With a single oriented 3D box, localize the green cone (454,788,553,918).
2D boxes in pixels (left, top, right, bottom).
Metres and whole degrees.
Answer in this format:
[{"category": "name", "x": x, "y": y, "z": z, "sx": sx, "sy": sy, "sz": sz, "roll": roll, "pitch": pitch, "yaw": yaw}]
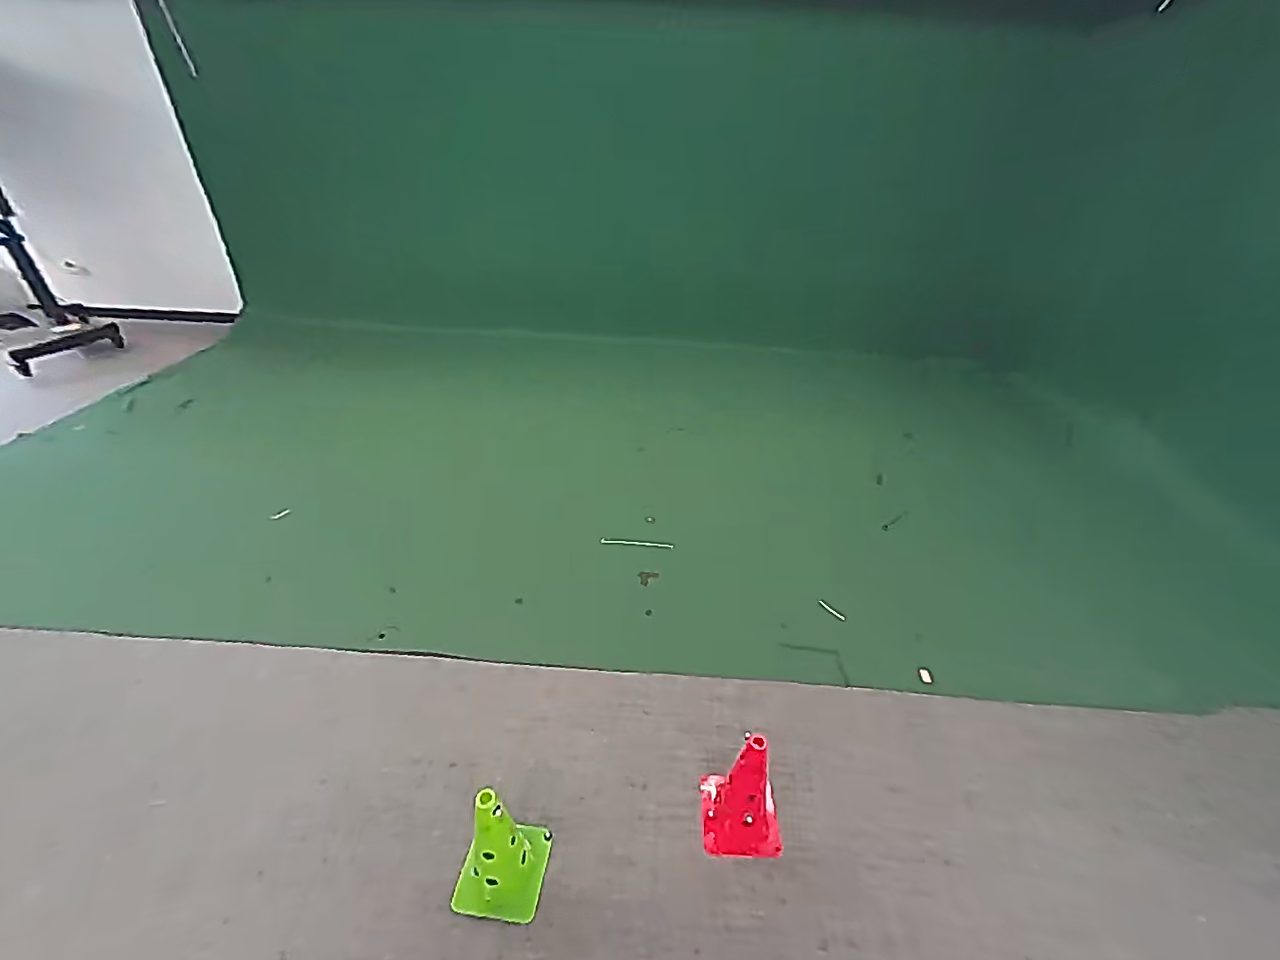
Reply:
[{"category": "green cone", "x": -0.327, "y": 0.801, "z": 1.226, "sx": 0.200, "sy": 0.368, "sz": 0.202, "roll": 4, "pitch": 35, "yaw": 4}]
